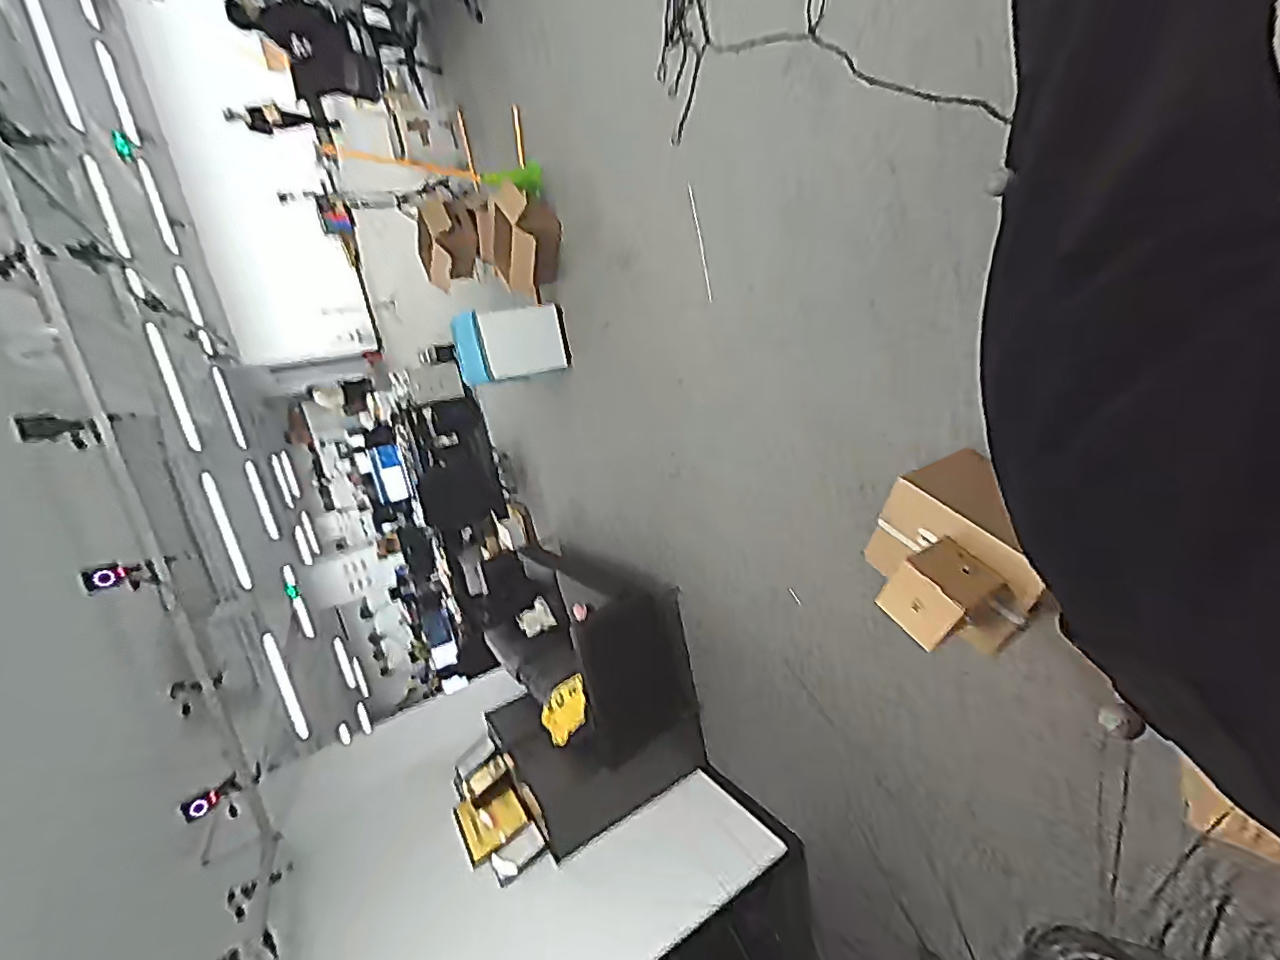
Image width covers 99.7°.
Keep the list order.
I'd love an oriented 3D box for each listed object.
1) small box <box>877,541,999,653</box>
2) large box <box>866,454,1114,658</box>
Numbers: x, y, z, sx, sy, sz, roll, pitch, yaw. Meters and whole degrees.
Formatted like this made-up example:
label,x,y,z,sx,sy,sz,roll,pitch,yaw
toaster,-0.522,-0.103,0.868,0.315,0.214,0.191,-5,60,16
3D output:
label,x,y,z,sx,sy,sz,roll,pitch,yaw
small box,0.724,0.280,1.316,0.168,0.176,0.179,49,145,37
large box,0.908,0.184,1.451,0.408,0.320,0.320,47,143,42
